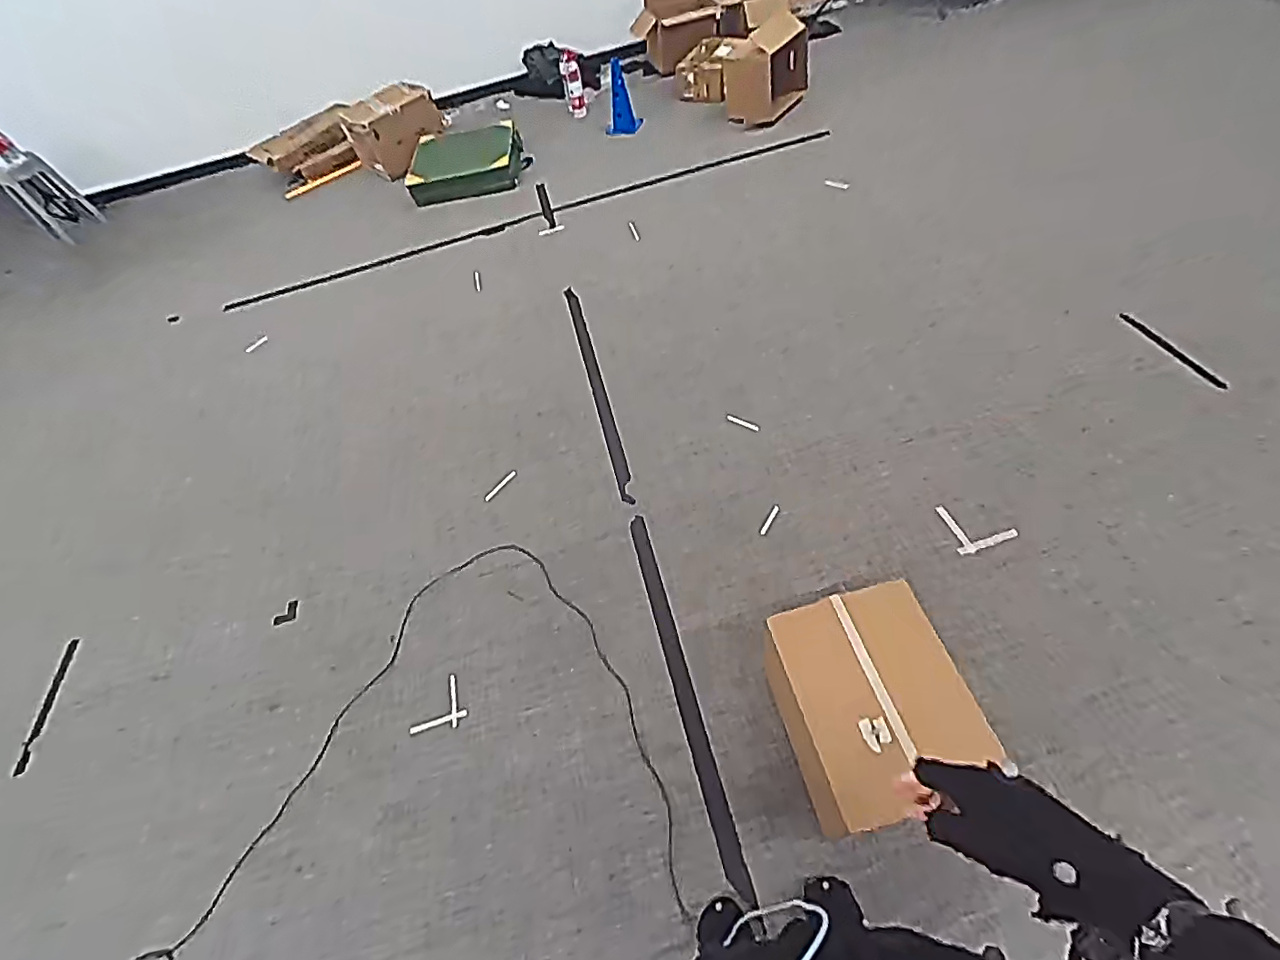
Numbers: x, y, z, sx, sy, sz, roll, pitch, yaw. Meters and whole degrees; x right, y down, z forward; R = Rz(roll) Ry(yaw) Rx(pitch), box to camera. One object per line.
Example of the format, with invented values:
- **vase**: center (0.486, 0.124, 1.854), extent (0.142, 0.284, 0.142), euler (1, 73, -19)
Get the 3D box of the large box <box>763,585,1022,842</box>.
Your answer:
- **large box**: center (0.486, 0.500, 1.161), extent (0.320, 0.320, 0.408), euler (-17, 54, 0)
